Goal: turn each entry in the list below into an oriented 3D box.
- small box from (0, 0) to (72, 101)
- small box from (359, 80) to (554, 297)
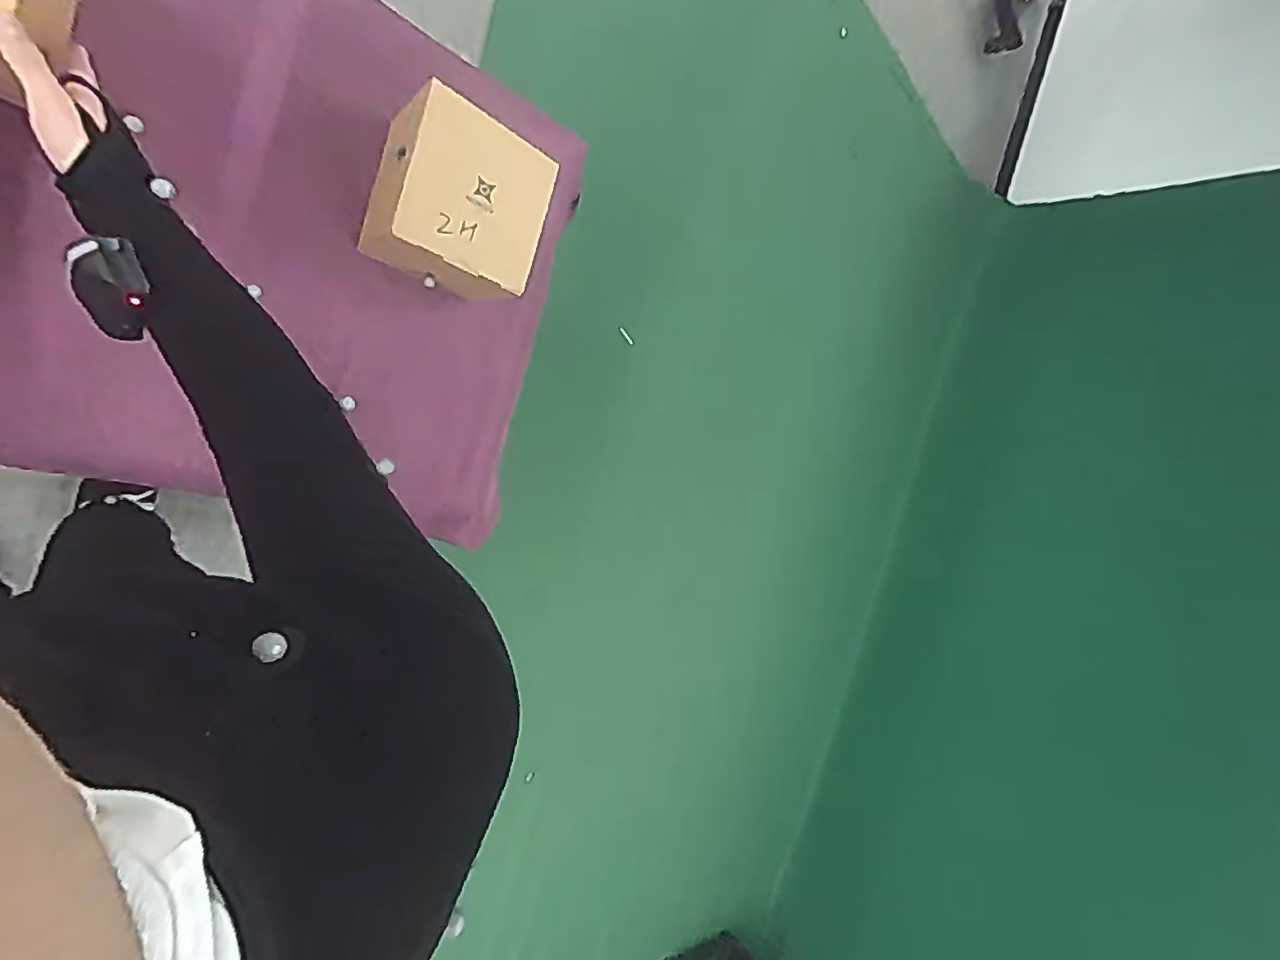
[{"bbox_3d":[-0.562,-0.438,0.407,0.168,0.176,0.179,14,95,-42],"label":"small box"},{"bbox_3d":[-0.242,-0.354,0.699,0.168,0.176,0.179,16,93,-41],"label":"small box"}]
